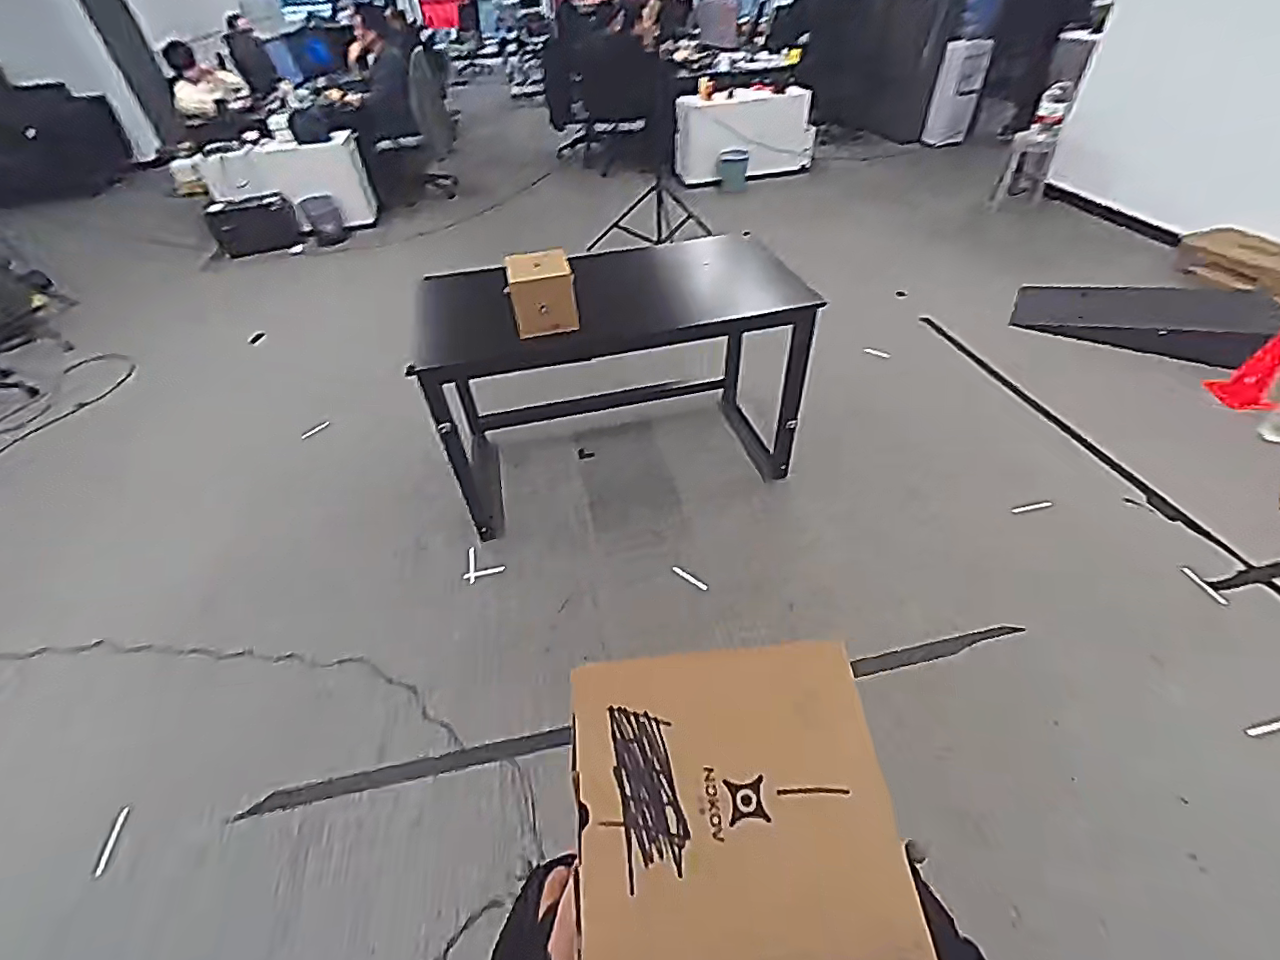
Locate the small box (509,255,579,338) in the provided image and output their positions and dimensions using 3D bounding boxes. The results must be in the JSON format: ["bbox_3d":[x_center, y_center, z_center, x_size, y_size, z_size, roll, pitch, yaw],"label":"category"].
[{"bbox_3d":[-0.274,-0.520,1.551,0.168,0.176,0.179,-11,44,-8],"label":"small box"}]

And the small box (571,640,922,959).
[{"bbox_3d":[0.052,0.224,0.378,0.179,0.176,0.168,-6,58,-2],"label":"small box"}]
